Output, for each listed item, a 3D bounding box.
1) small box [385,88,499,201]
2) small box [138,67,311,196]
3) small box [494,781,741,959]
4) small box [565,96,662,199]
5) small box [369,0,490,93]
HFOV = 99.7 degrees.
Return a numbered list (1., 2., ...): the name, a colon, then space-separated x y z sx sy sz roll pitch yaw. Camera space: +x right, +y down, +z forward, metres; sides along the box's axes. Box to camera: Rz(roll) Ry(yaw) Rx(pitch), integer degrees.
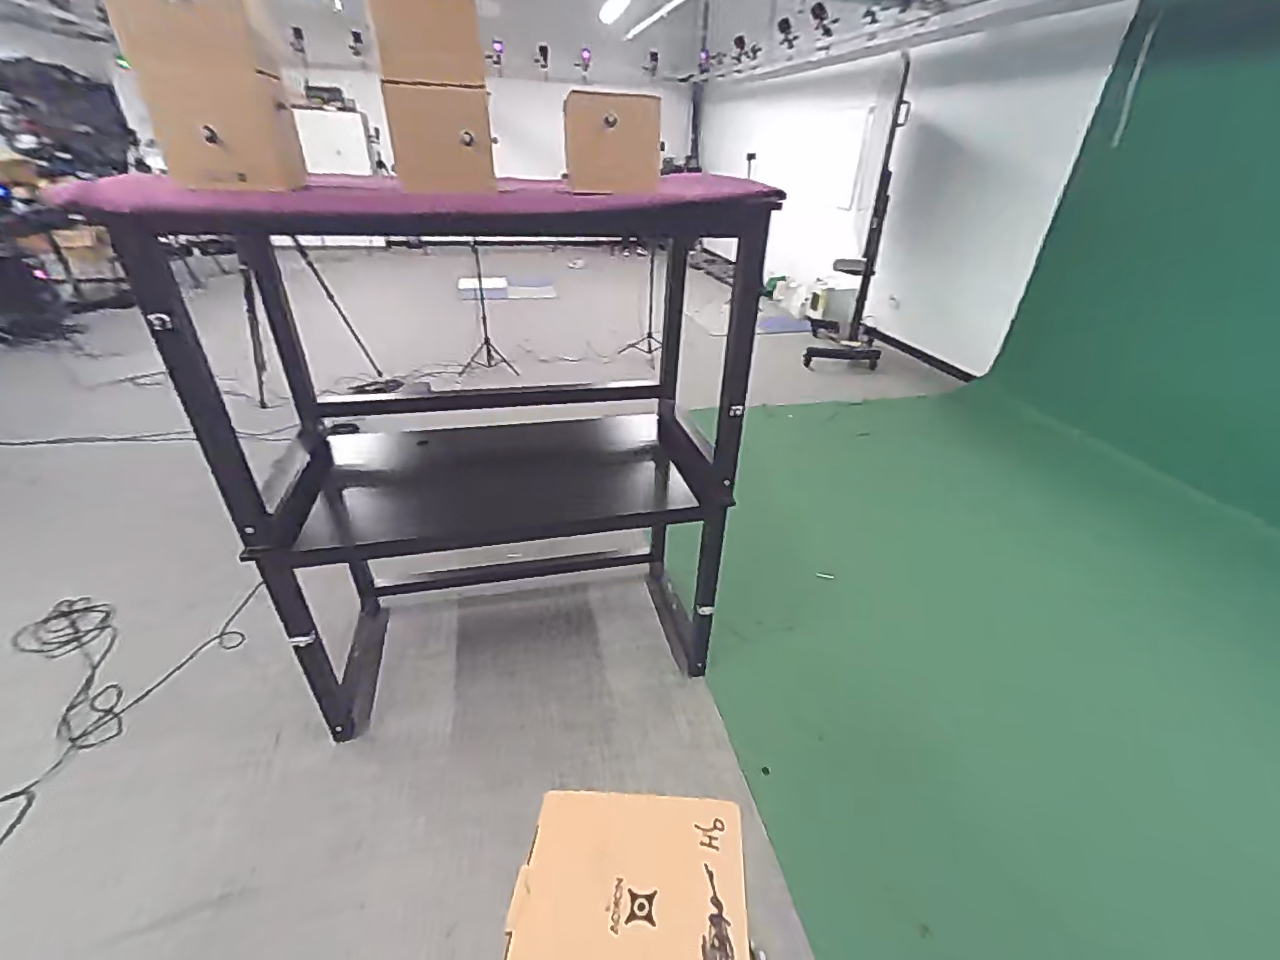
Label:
1. small box: -0.364 -0.633 1.028 0.179 0.176 0.168 -7 32 -13
2. small box: -0.688 -0.588 0.925 0.168 0.176 0.179 -6 33 -15
3. small box: -0.006 0.383 0.453 0.179 0.176 0.168 -1 30 7
4. small box: -0.058 -0.680 1.120 0.179 0.176 0.168 -5 30 -11
5. small box: -0.366 -0.773 0.944 0.179 0.176 0.168 -7 32 -15
